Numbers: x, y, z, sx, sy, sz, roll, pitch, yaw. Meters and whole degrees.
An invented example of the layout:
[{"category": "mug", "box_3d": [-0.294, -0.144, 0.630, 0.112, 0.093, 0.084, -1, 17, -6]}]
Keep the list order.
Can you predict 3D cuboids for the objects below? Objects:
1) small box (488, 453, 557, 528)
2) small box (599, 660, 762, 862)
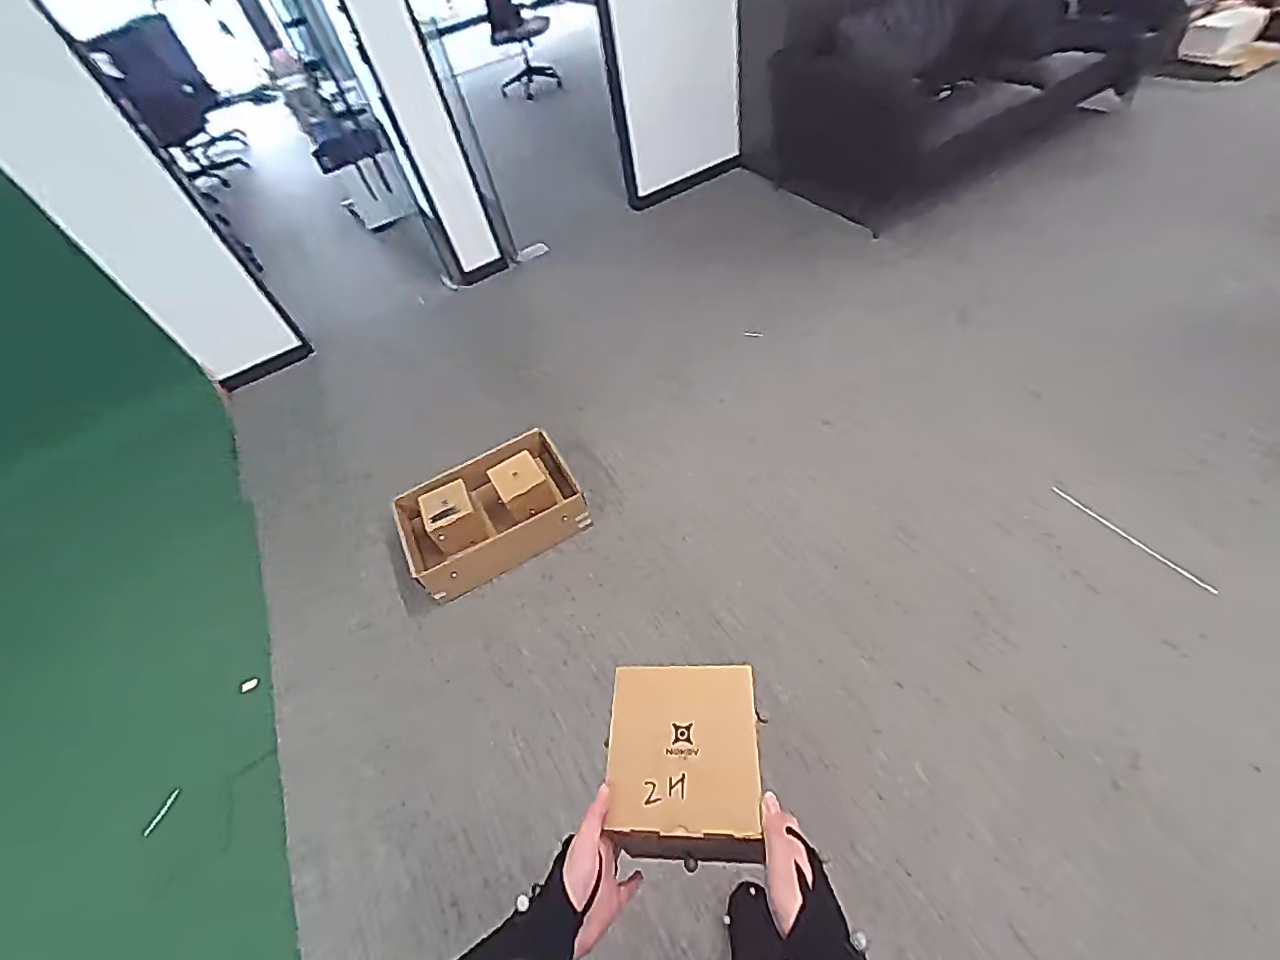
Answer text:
[{"category": "small box", "box_3d": [-0.426, 0.041, 1.977, 0.168, 0.176, 0.179, -30, 53, -13]}, {"category": "small box", "box_3d": [0.057, 0.336, 0.653, 0.168, 0.176, 0.179, -4, 47, 10]}]
